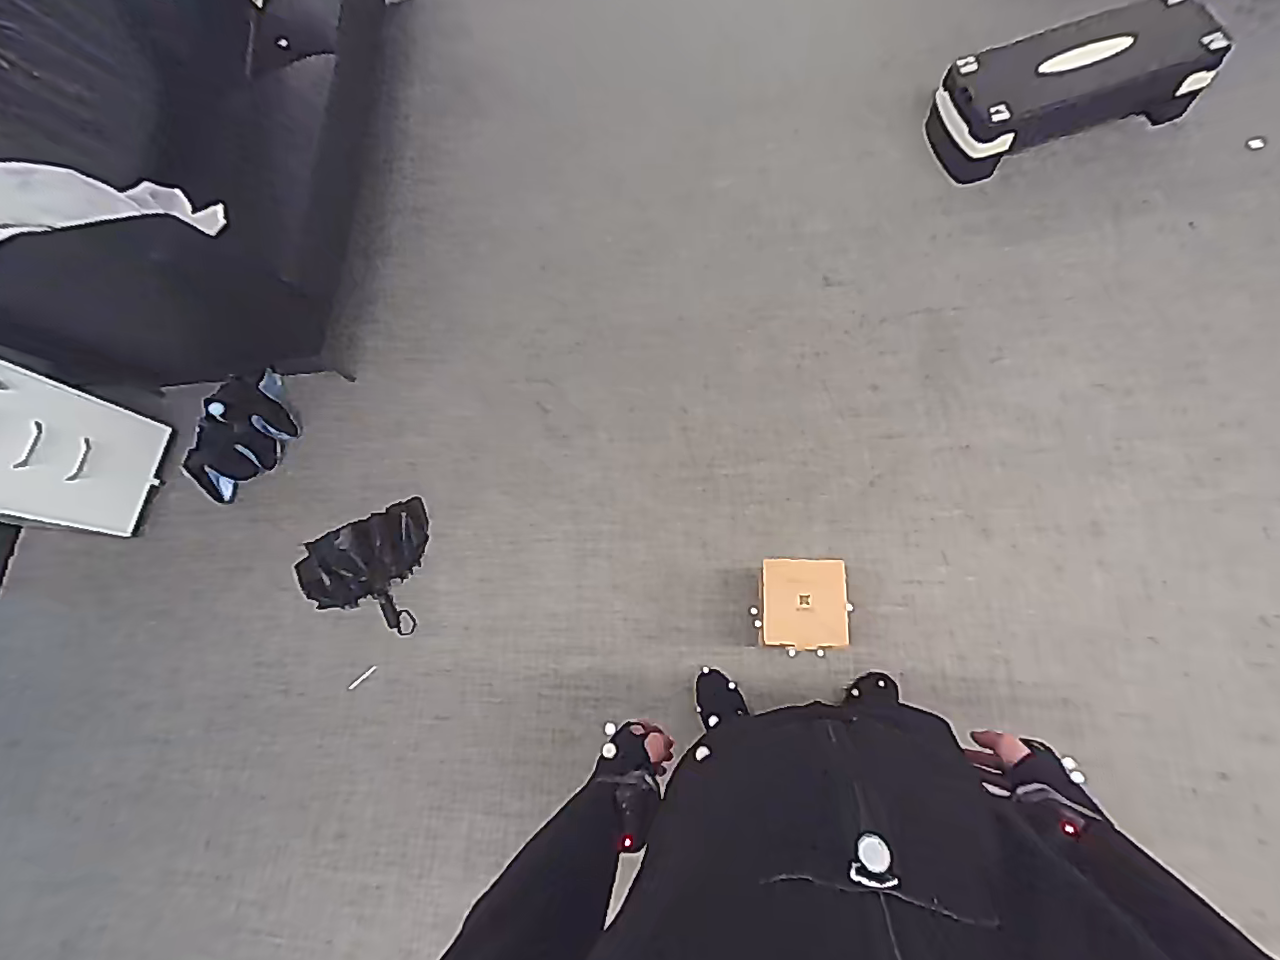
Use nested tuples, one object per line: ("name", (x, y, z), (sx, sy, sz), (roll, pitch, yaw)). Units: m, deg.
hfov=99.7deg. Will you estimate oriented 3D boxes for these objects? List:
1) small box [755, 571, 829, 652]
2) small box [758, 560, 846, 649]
("small box", (0.370, 0.325, 1.330), (0.168, 0.176, 0.179), (1, 73, 12))
("small box", (0.345, 0.274, 1.177), (0.168, 0.176, 0.179), (0, 72, 10))
